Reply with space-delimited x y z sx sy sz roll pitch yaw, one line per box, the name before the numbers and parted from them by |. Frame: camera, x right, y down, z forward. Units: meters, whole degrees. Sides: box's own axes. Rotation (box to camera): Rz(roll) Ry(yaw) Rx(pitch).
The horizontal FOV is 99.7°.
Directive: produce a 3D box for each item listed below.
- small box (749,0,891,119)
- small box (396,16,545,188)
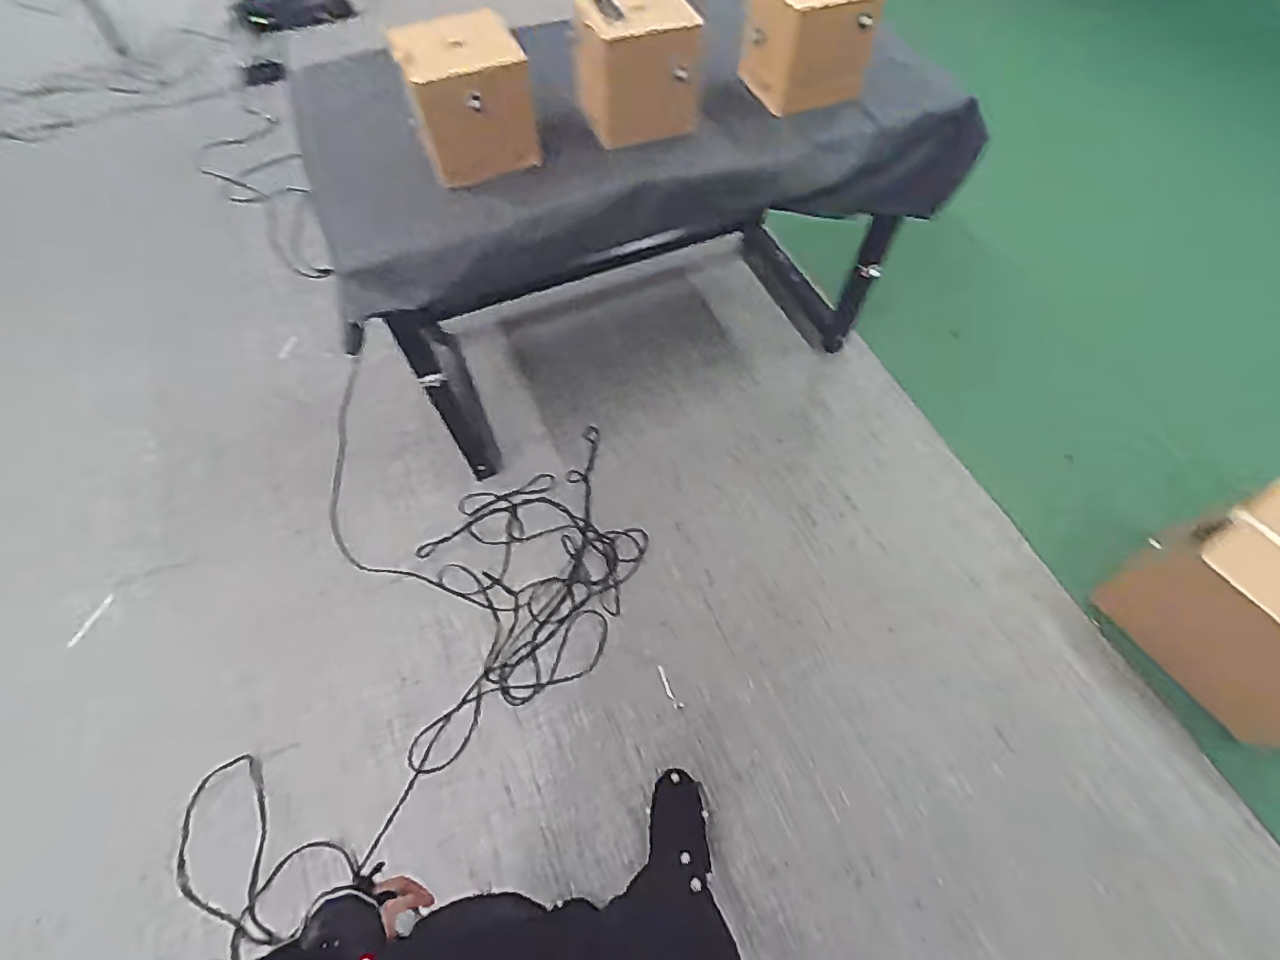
small box | 0.314 -0.796 0.989 0.179 0.176 0.168 -18 63 -10
small box | -0.272 -0.618 0.896 0.179 0.176 0.168 -21 65 -12
